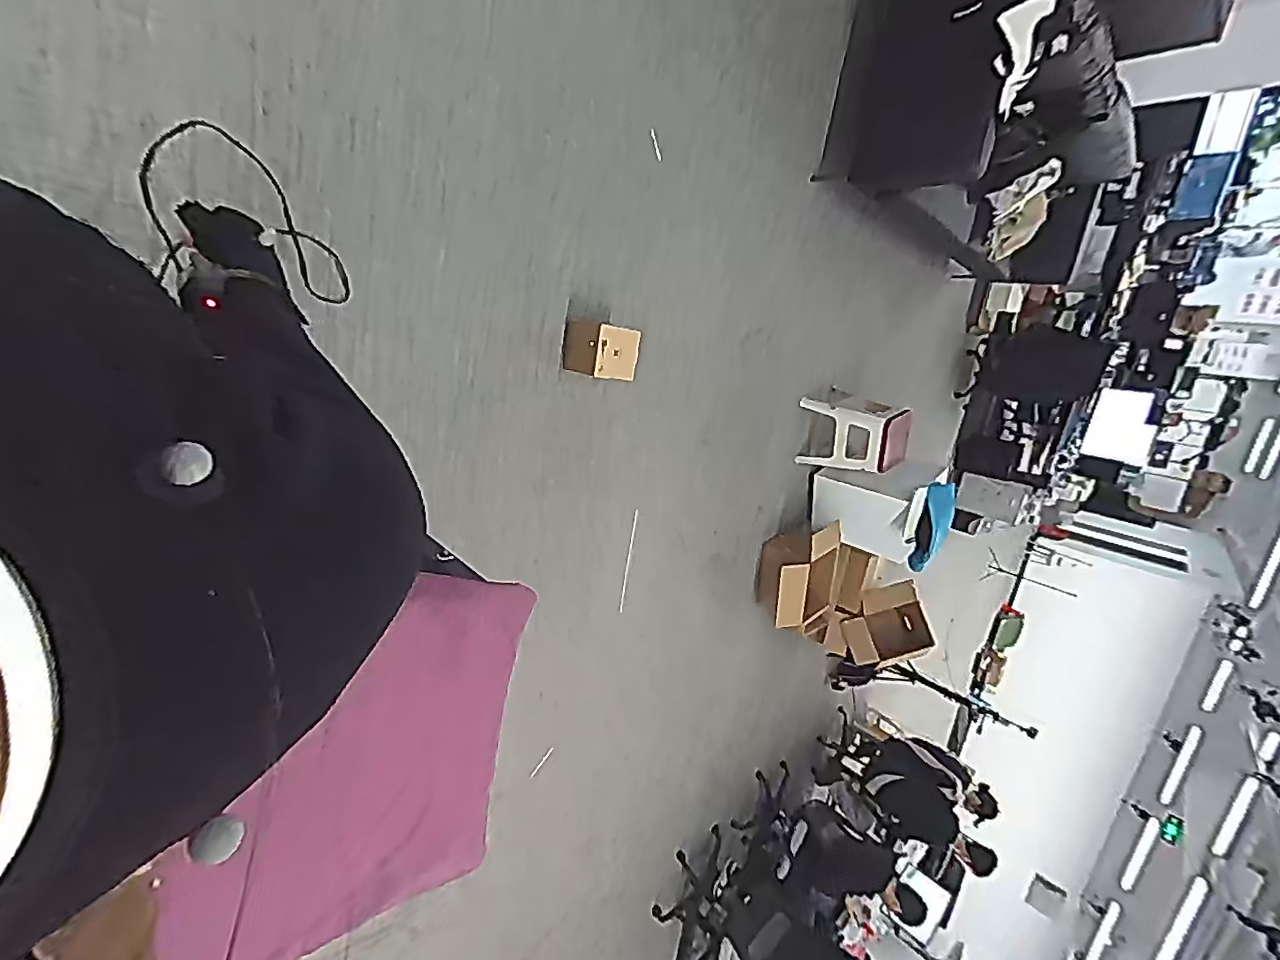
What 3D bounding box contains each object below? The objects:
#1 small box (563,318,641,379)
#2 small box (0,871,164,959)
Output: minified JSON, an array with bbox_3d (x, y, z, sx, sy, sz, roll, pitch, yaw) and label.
[{"bbox_3d":[-0.128,-0.438,1.792,0.179,0.176,0.168,-4,109,-45],"label":"small box"},{"bbox_3d":[-0.513,0.492,0.454,0.168,0.176,0.179,0,105,-46],"label":"small box"}]
